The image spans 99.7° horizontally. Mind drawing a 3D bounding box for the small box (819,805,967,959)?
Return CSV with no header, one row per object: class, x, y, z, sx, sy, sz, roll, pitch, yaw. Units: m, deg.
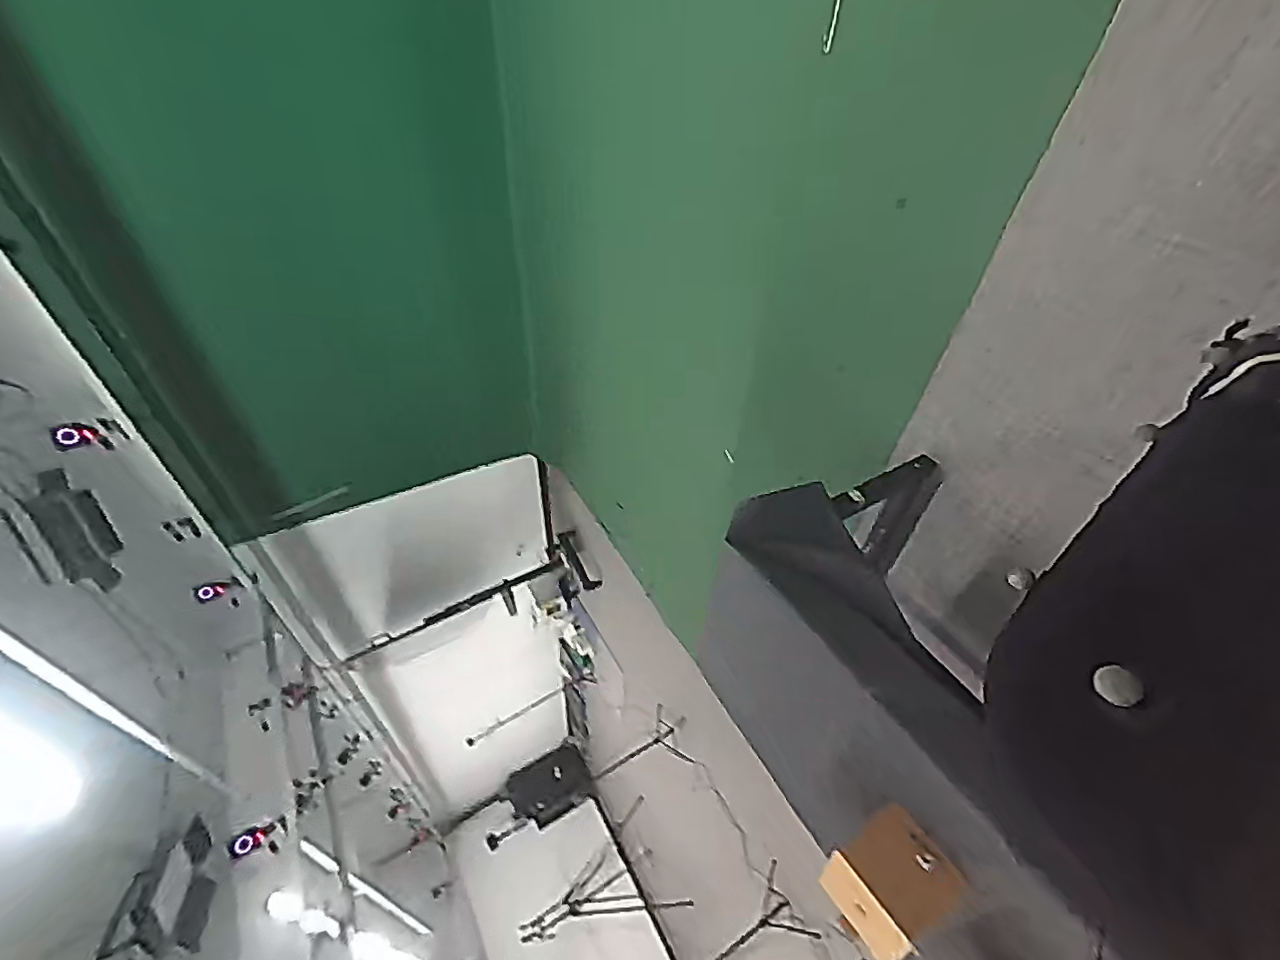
small box,0.466,0.757,1.006,0.168,0.176,0.179,43,144,43
